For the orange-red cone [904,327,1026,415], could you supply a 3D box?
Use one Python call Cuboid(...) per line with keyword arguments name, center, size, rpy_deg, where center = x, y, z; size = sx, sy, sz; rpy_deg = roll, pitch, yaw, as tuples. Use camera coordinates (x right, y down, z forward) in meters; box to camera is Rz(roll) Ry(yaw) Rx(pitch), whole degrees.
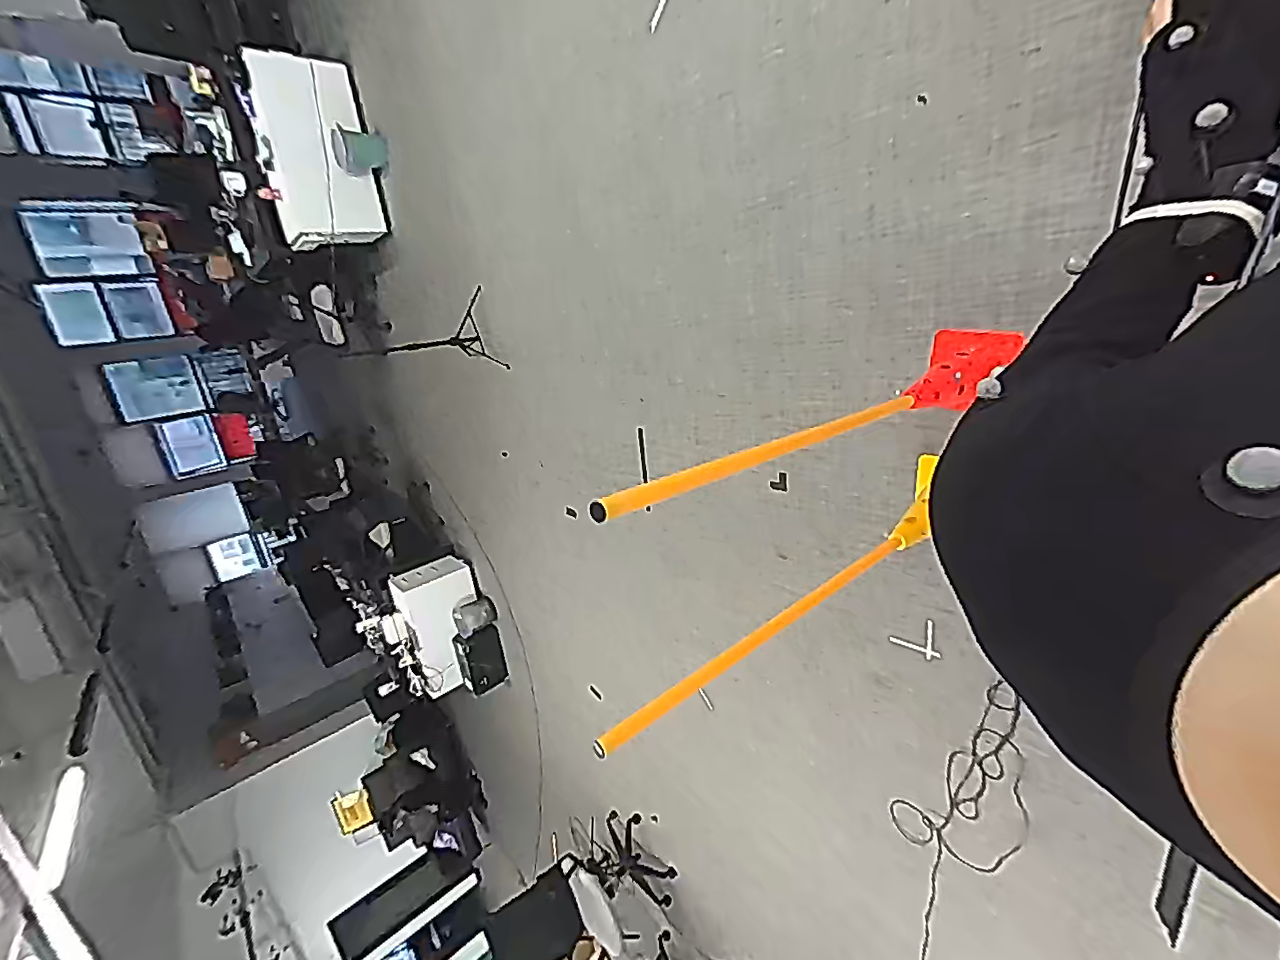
Cuboid(name="orange-red cone", center=(0.693, -0.224, 1.226), size=(0.198, 0.360, 0.199), rpy_deg=(22, 122, 43))
